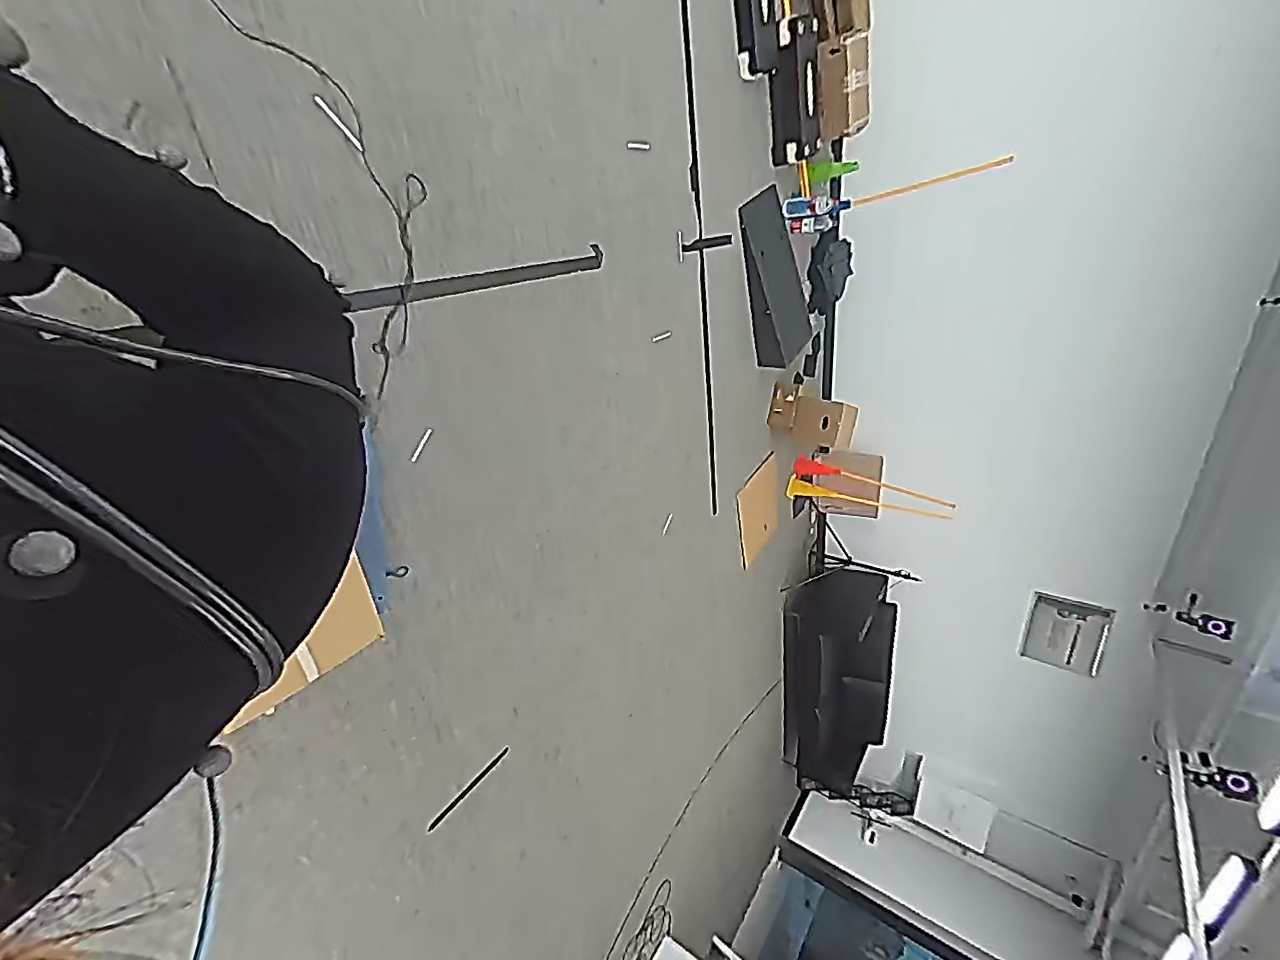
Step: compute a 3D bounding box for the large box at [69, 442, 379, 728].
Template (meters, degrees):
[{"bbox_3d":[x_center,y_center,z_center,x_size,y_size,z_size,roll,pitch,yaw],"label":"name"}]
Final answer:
[{"bbox_3d":[-0.794,0.180,1.066,0.320,0.320,0.408,-33,127,-45],"label":"large box"}]
